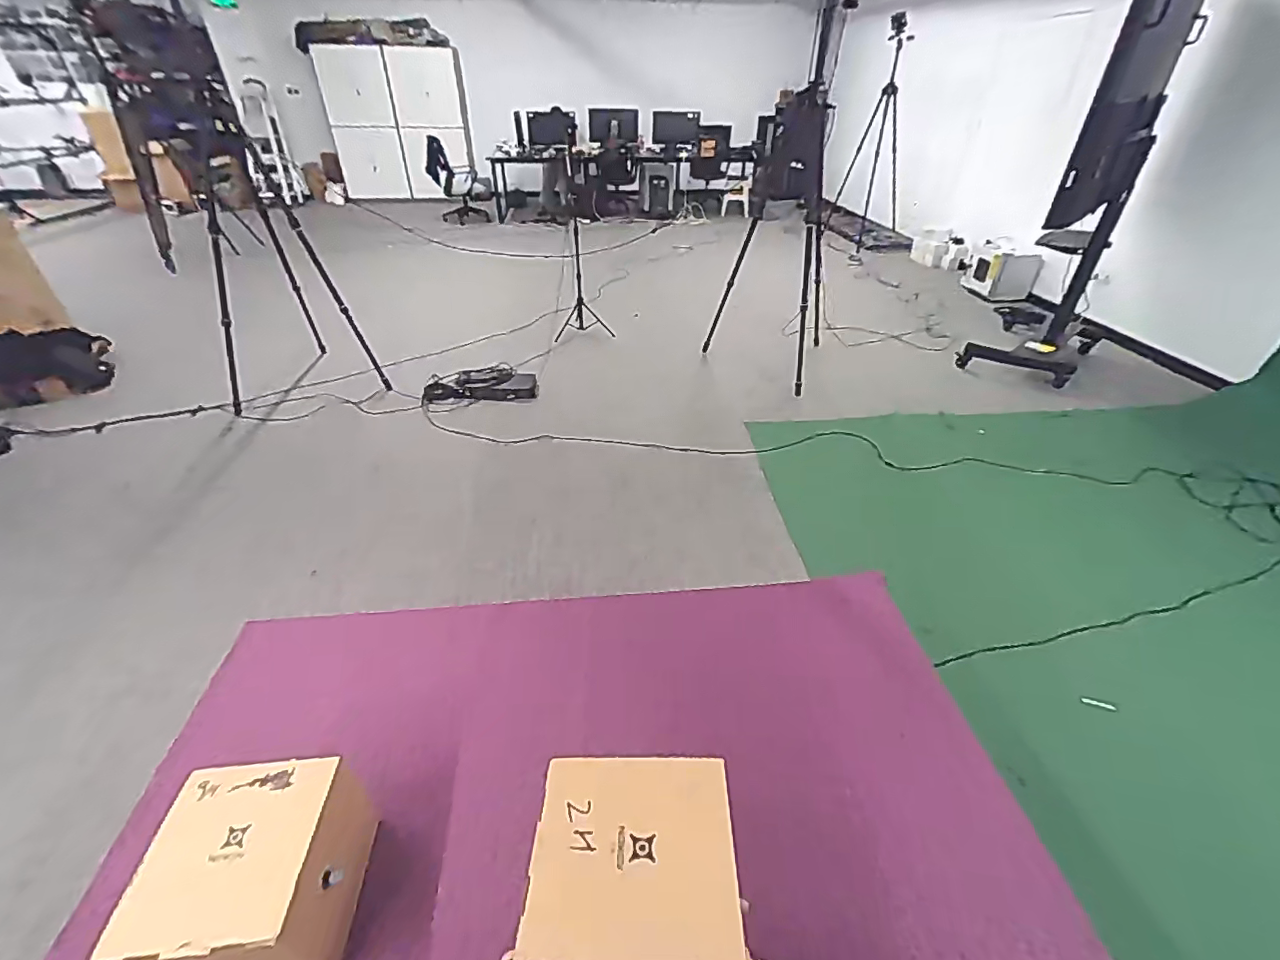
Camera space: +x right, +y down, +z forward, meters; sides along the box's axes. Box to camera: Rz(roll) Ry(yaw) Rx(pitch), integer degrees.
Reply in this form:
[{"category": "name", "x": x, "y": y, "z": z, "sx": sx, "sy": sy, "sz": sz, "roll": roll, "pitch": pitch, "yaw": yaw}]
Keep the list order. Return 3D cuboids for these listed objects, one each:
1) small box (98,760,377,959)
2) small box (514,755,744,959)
[{"category": "small box", "x": -0.423, "y": 0.450, "z": 0.612, "sx": 0.168, "sy": 0.176, "sz": 0.179, "roll": -3, "pitch": 37, "yaw": -5}, {"category": "small box", "x": -0.002, "y": 0.389, "z": 0.511, "sx": 0.179, "sy": 0.176, "sz": 0.168, "roll": -2, "pitch": 27, "yaw": 3}]
